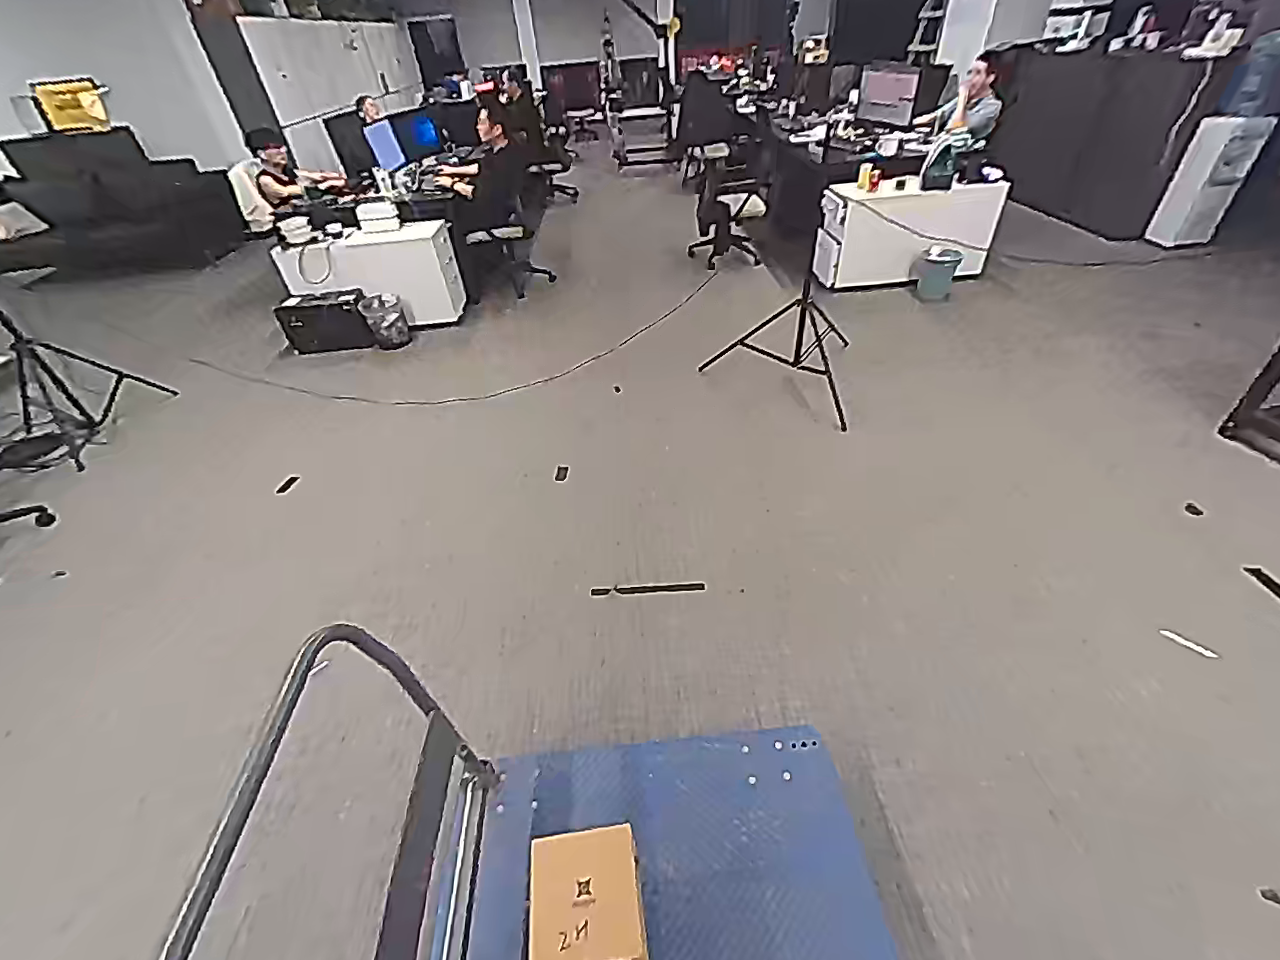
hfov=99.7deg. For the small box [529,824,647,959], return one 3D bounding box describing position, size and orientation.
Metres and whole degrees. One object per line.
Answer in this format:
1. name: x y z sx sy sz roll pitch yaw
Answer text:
1. small box: -0.081 0.694 0.873 0.168 0.176 0.179 -8 41 -3
